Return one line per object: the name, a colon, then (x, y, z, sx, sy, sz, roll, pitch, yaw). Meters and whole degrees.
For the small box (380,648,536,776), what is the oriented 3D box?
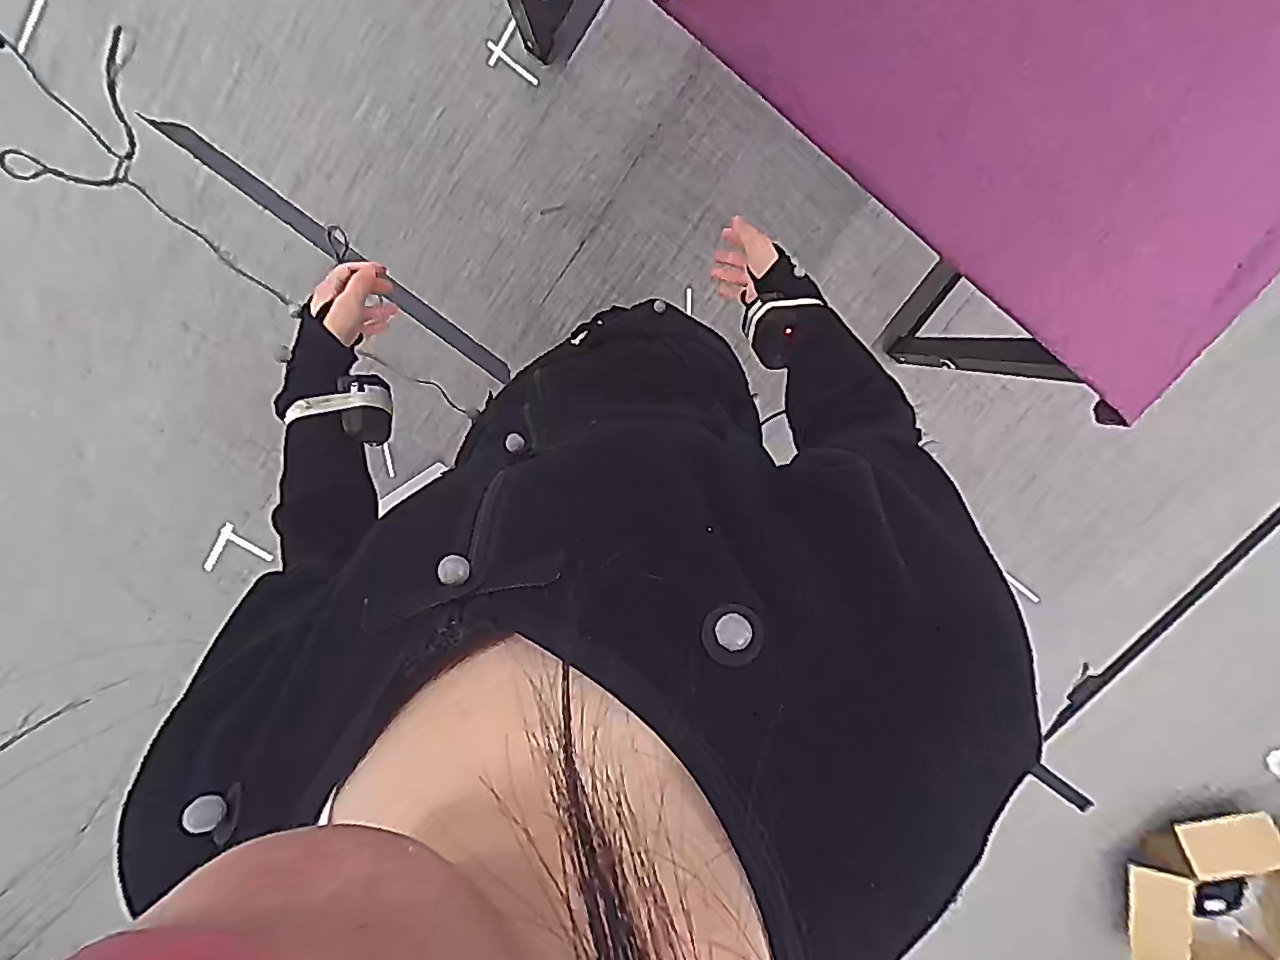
small box: (-0.299, 0.432, 0.931, 0.168, 0.176, 0.179, 37, 103, -9)
